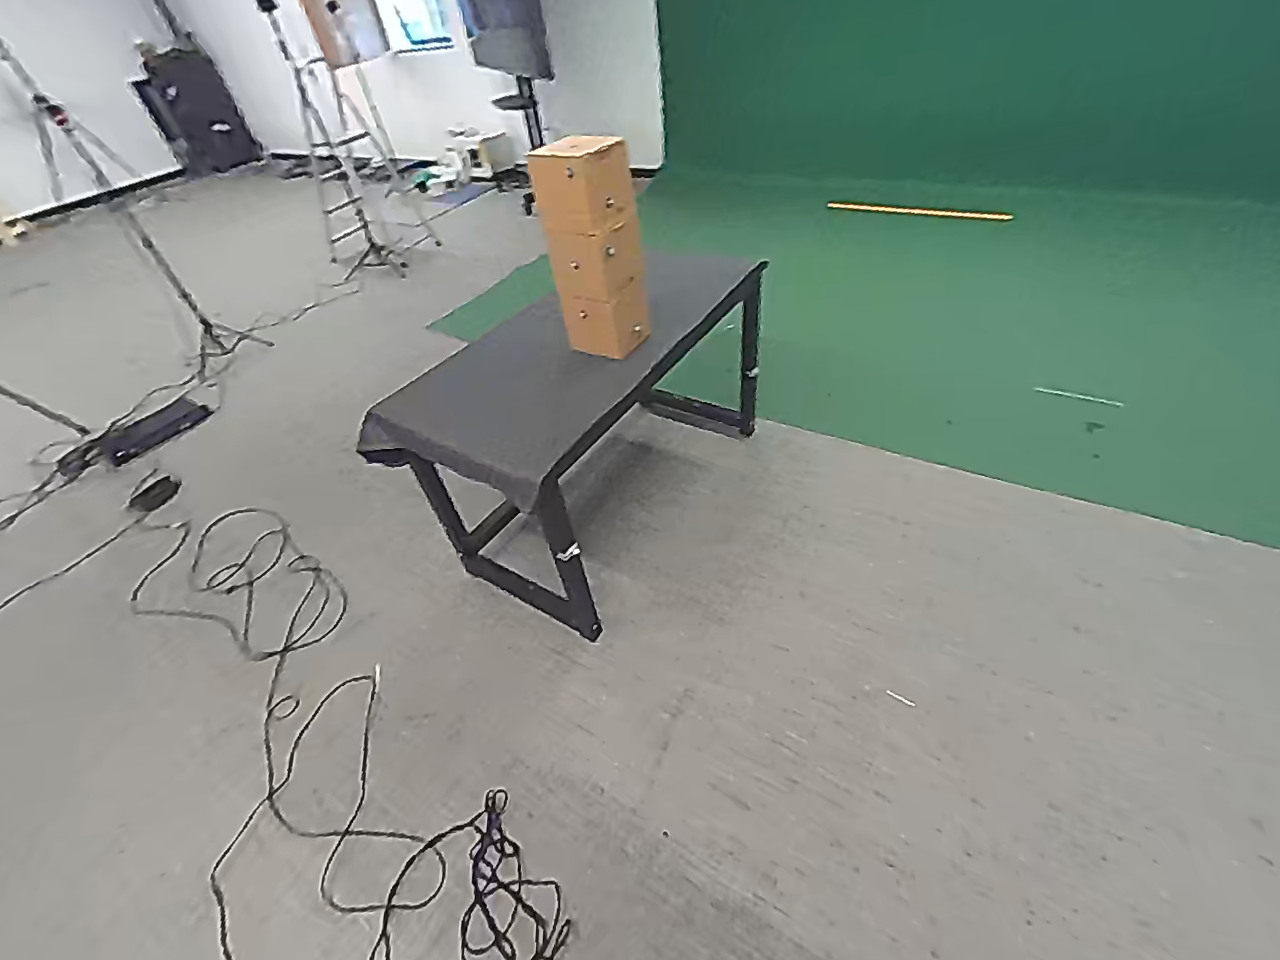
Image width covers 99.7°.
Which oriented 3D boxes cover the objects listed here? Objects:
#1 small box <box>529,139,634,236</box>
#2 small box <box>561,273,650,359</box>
[{"bbox_3d":[-0.134,-0.699,1.294,0.179,0.176,0.168,22,51,29],"label":"small box"},{"bbox_3d":[-0.090,-0.458,1.510,0.179,0.176,0.168,19,50,27],"label":"small box"}]
